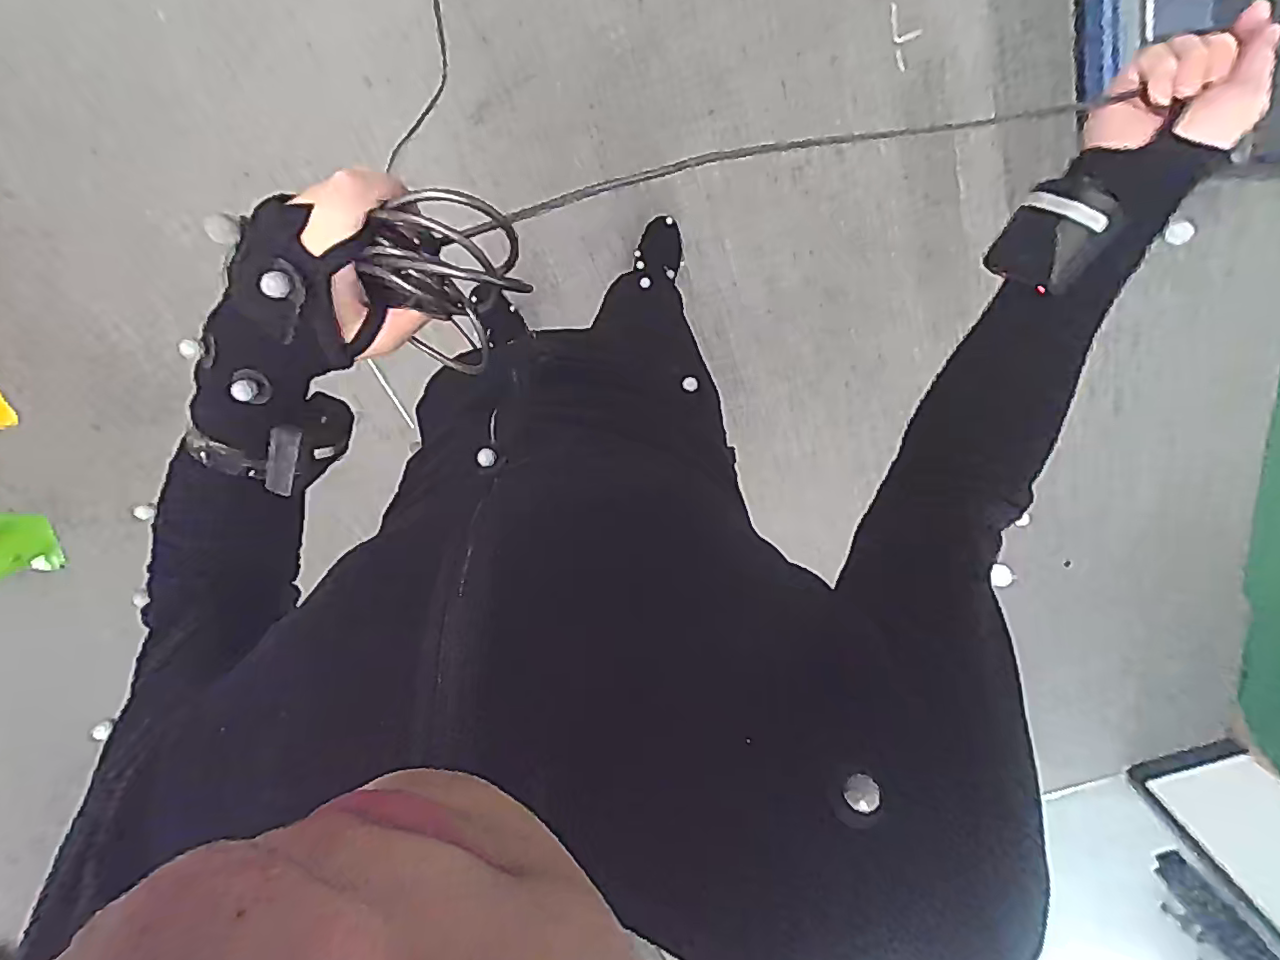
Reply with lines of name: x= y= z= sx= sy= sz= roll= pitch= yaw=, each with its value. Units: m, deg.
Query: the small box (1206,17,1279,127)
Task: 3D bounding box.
small box: x=1.307 y=-0.832 z=1.076 sx=0.179 sy=0.176 sz=0.168 roll=-20 pitch=117 yaw=8
